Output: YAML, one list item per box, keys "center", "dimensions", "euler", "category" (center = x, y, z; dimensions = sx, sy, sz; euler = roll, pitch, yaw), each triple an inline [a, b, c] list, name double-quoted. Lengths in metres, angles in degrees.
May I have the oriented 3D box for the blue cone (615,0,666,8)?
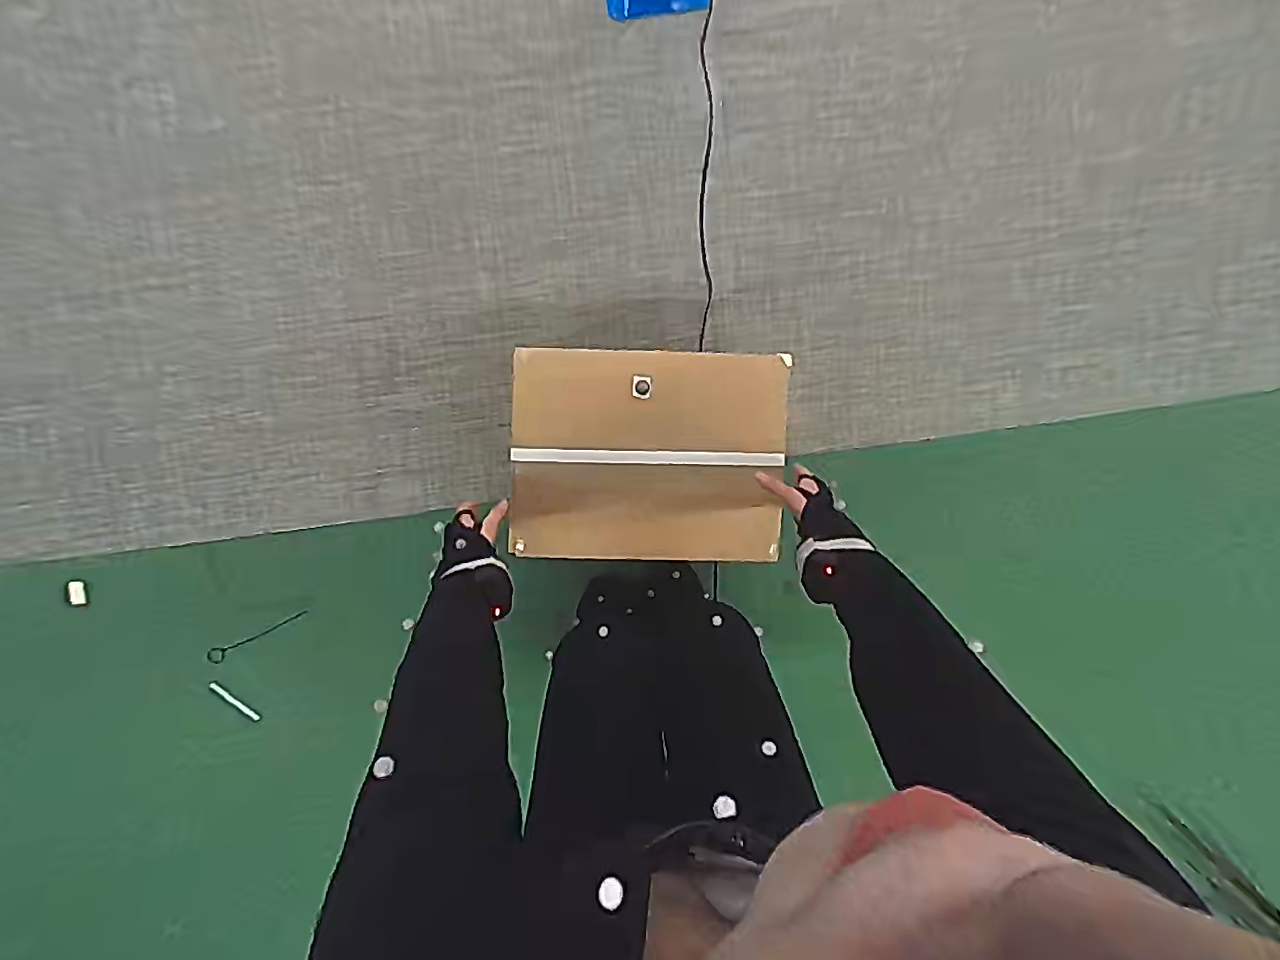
- center: [0.027, -0.958, 0.827]
  dimensions: [0.193, 0.380, 0.192]
  euler: [-11, 96, 0]
  category: "blue cone"
